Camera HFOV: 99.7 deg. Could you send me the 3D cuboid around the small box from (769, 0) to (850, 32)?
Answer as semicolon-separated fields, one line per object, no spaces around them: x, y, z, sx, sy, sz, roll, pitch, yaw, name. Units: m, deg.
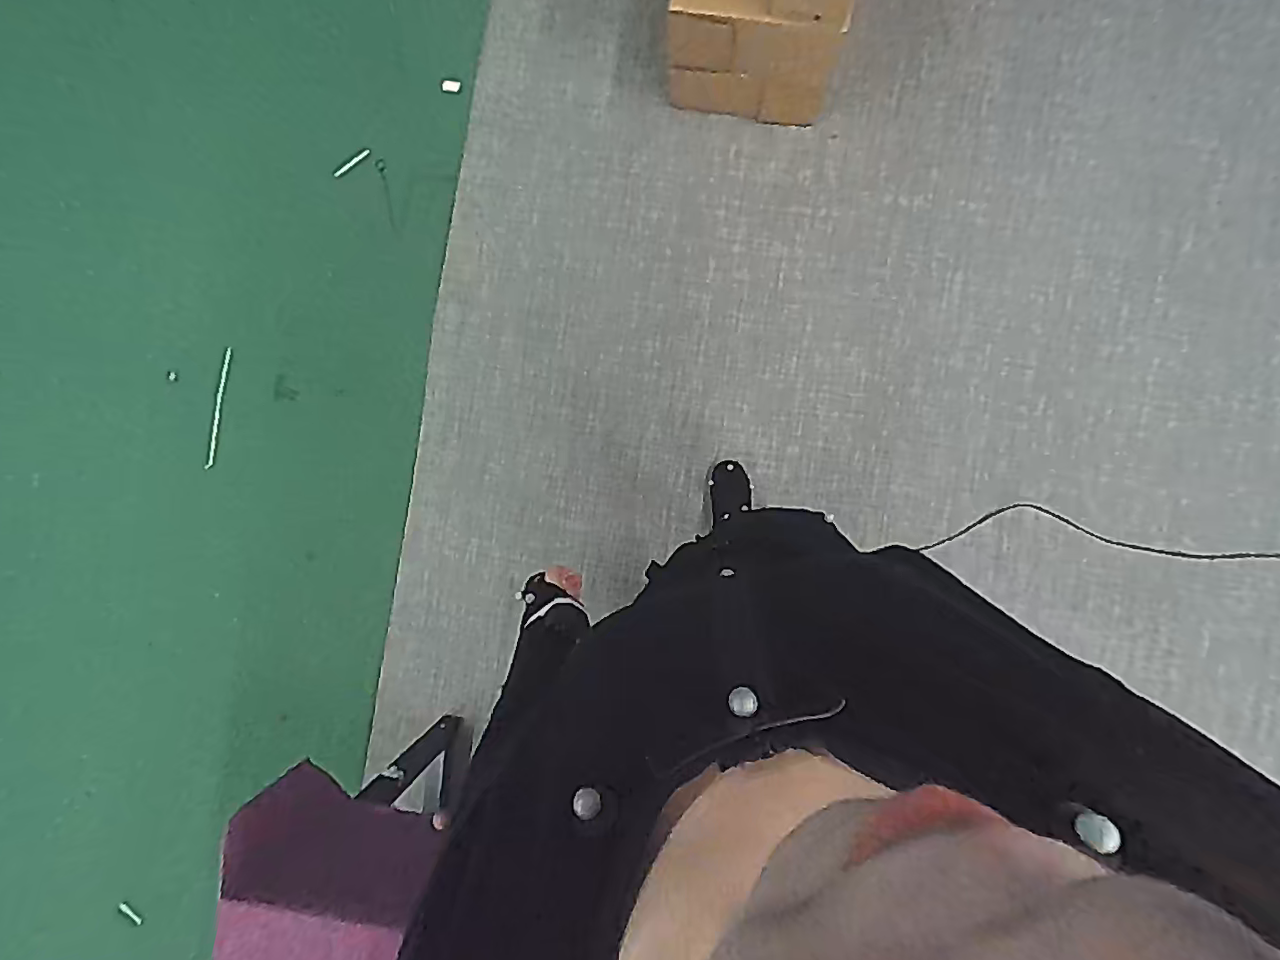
0.371;-1.081;1.105;0.168;0.176;0.179;14;88;6;small box
